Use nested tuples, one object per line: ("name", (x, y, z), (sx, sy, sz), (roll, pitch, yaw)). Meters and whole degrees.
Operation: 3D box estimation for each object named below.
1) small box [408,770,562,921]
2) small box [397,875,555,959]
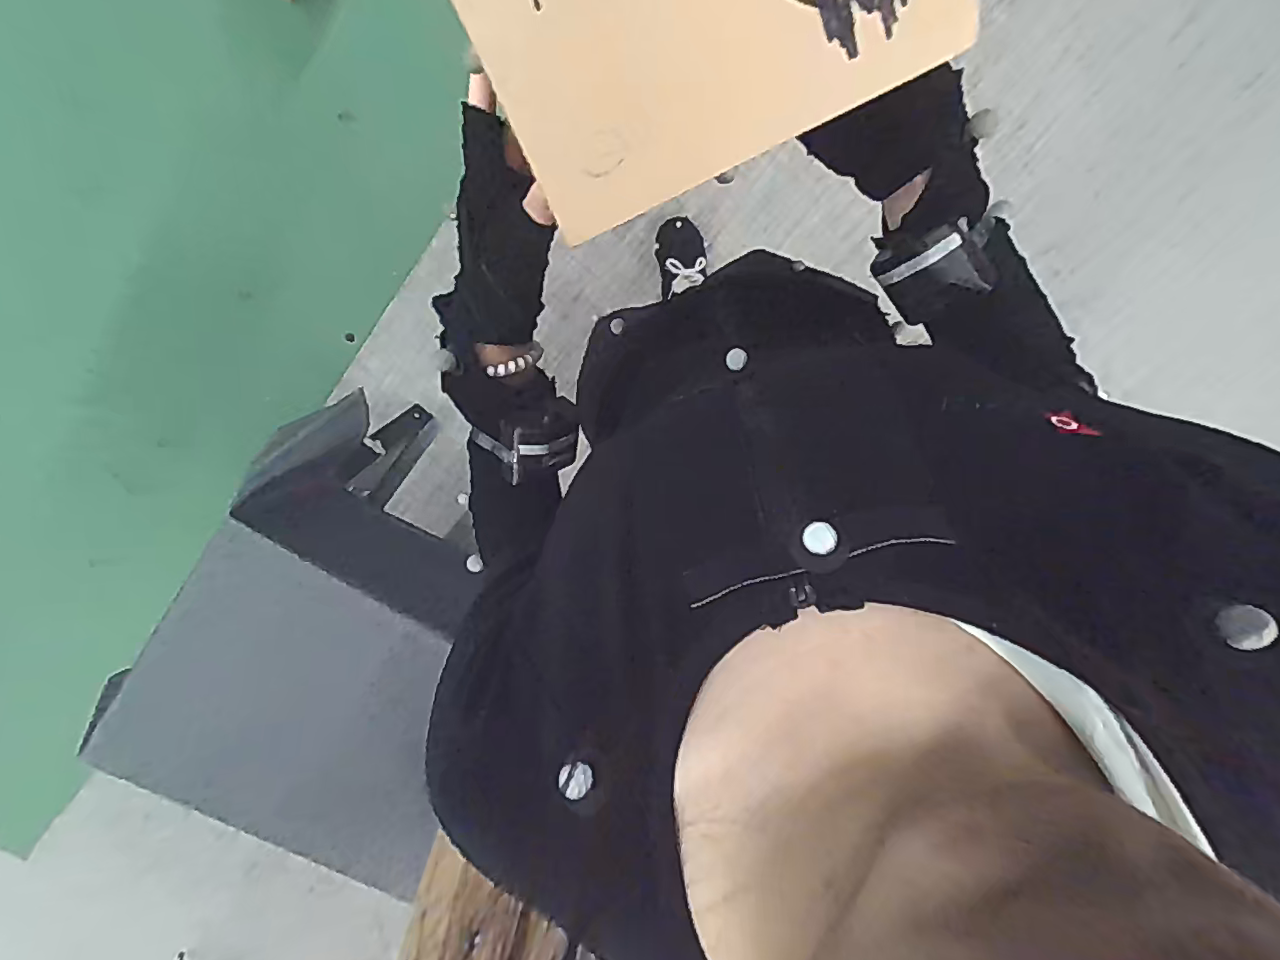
("small box", (-0.246, 0.637, 0.908), (0.168, 0.176, 0.179), (38, 106, -15))
("small box", (-0.242, 0.701, 0.758), (0.179, 0.176, 0.168), (36, 108, -14))
